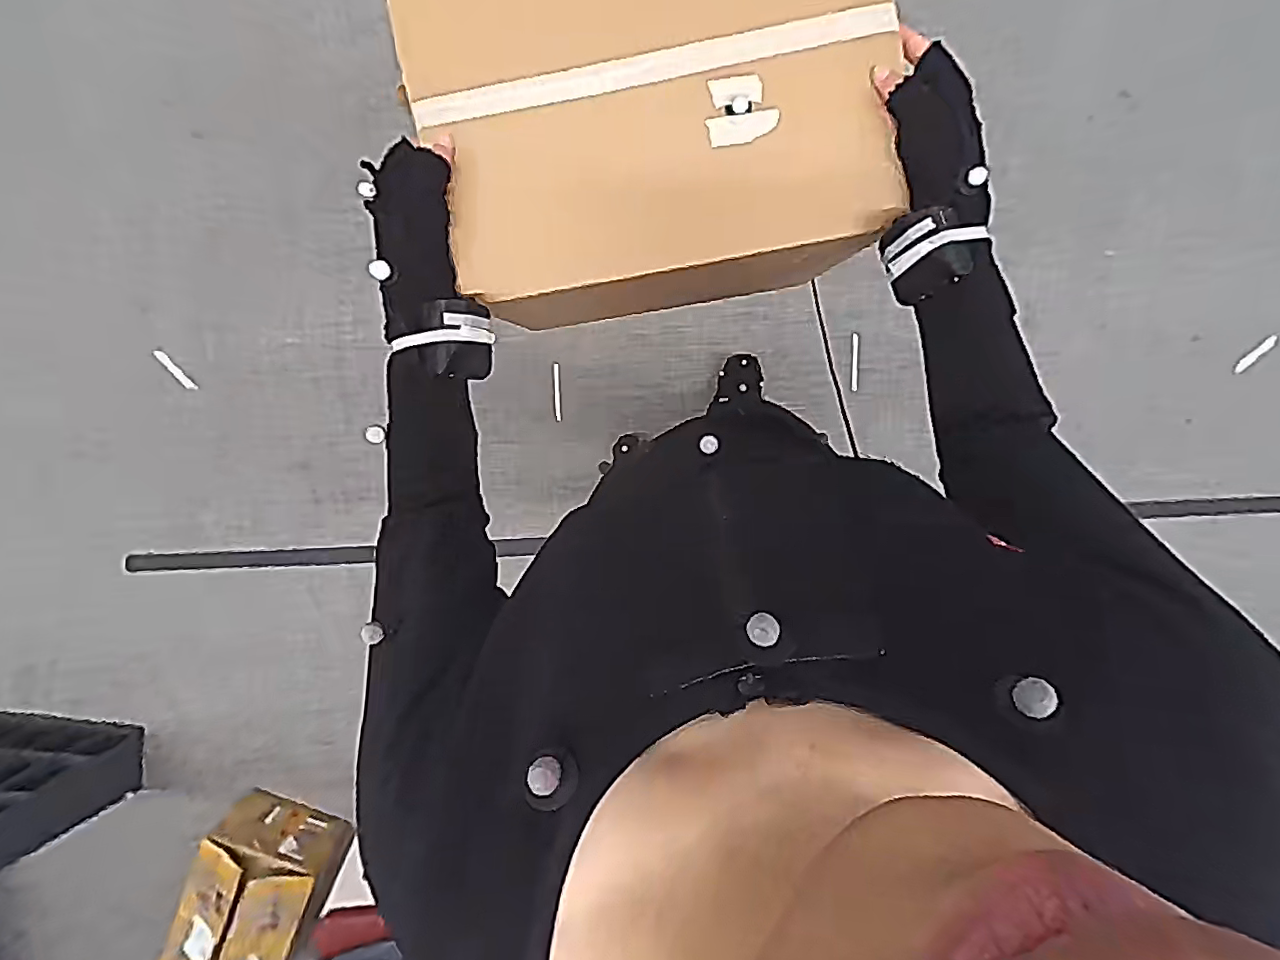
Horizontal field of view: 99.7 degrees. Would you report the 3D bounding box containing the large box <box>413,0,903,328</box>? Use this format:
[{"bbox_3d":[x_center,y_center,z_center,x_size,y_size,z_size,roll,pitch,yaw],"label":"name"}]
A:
[{"bbox_3d":[0.017,-0.376,0.615,0.408,0.320,0.320,-9,101,2],"label":"large box"}]
